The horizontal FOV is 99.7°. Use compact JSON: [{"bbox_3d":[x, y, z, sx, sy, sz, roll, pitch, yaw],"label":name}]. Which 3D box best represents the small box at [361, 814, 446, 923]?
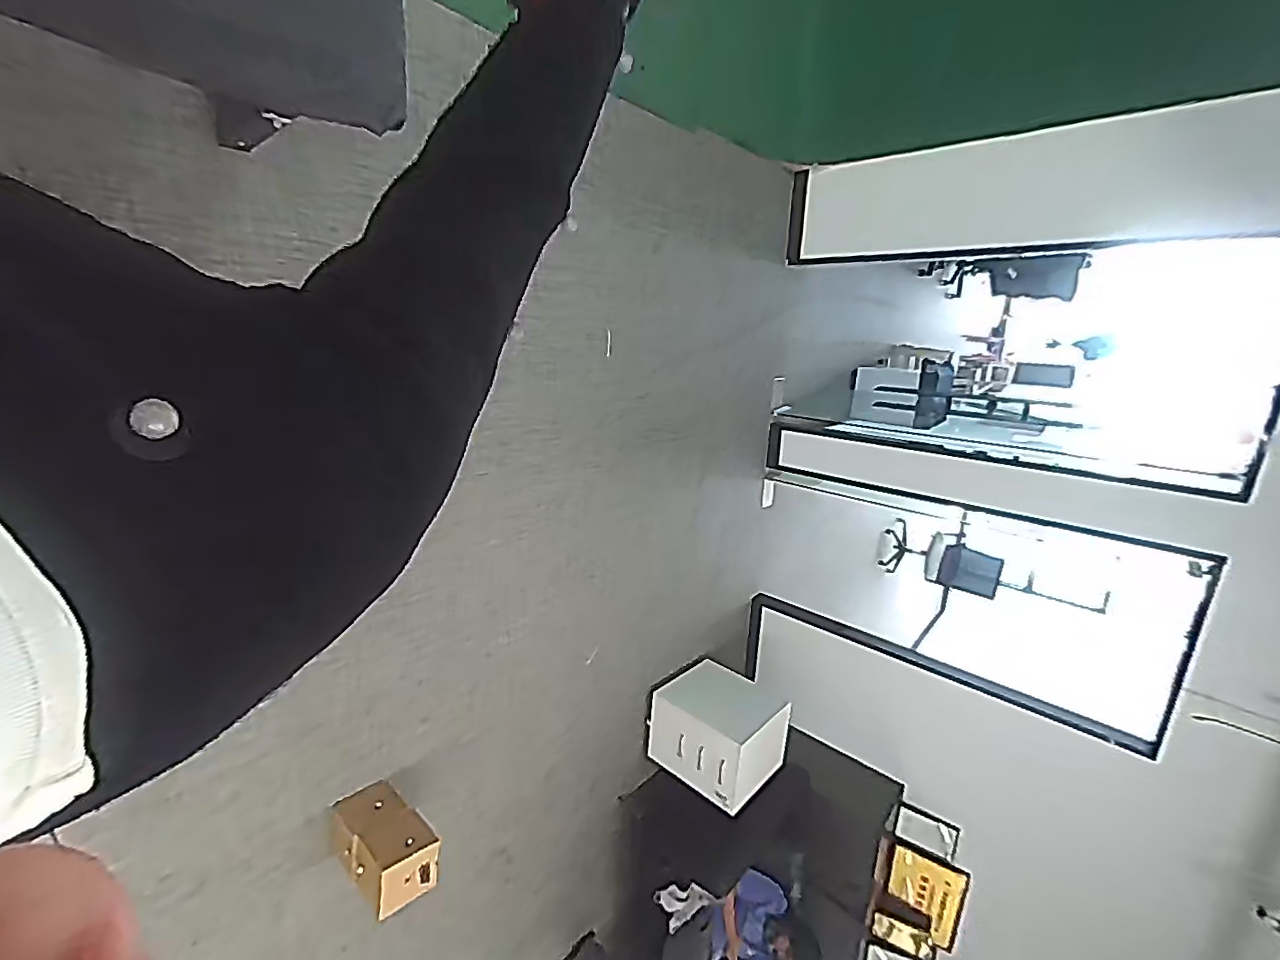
[{"bbox_3d":[-0.713,1.155,1.627,0.179,0.176,0.168,-3,104,-49],"label":"small box"}]

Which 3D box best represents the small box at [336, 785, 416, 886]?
[{"bbox_3d":[-0.843,1.120,1.724,0.179,0.176,0.168,-6,106,-50],"label":"small box"}]
